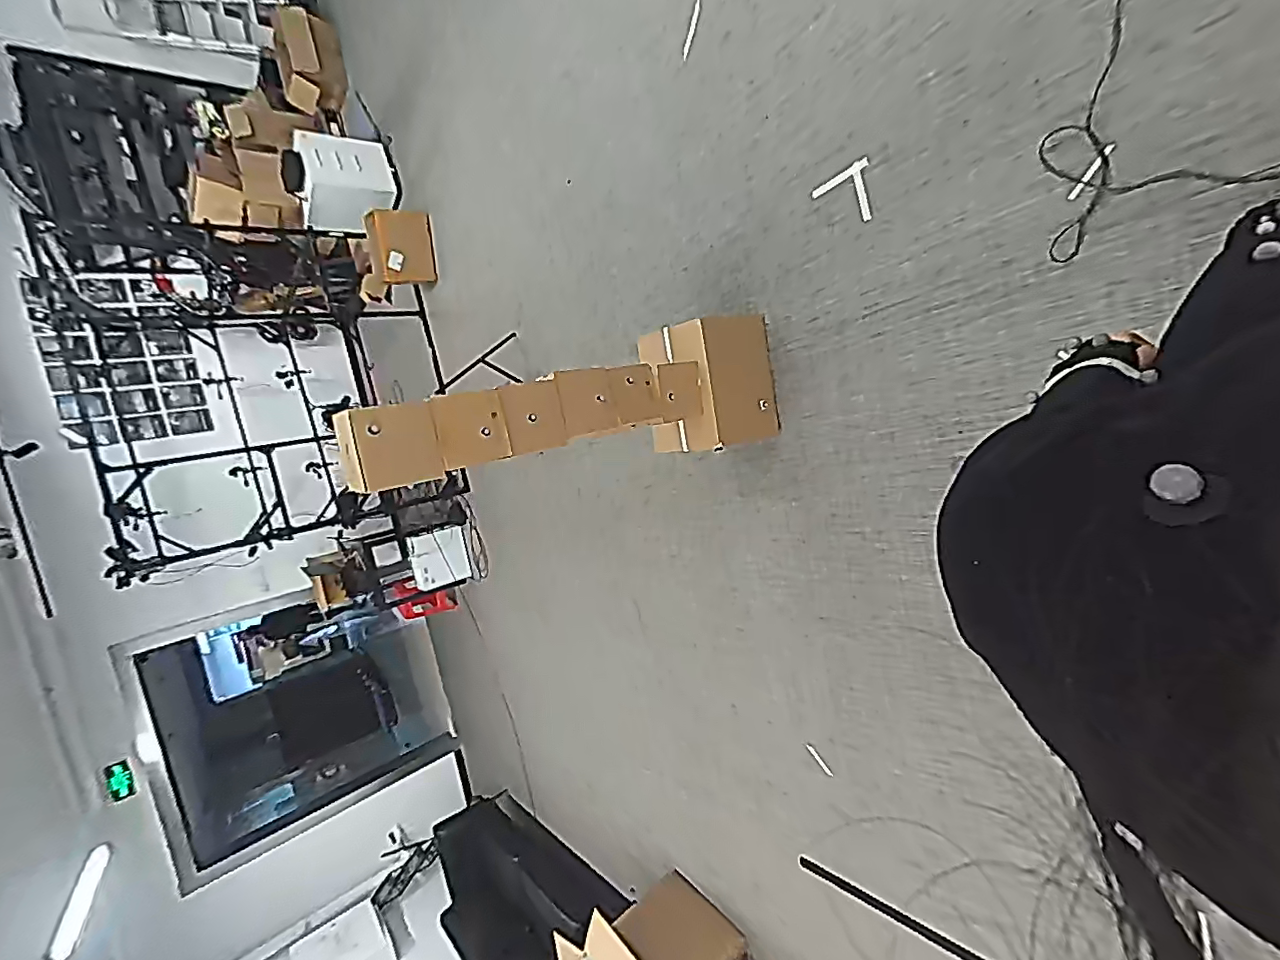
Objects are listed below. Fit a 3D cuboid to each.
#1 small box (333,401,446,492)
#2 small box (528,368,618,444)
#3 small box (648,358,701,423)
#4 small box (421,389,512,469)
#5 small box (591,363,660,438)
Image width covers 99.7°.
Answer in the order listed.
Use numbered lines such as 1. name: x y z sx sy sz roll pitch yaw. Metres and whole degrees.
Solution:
1. small box: -0.553 -0.078 1.198 0.168 0.176 0.179 2 104 51
2. small box: -0.184 -0.207 1.496 0.168 0.176 0.179 -10 94 53
3. small box: 0.074 -0.277 1.683 0.168 0.176 0.179 5 106 51
4. small box: -0.430 -0.117 1.300 0.179 0.176 0.168 -6 98 52
5. small box: -0.058 -0.235 1.598 0.179 0.176 0.168 -21 86 54
